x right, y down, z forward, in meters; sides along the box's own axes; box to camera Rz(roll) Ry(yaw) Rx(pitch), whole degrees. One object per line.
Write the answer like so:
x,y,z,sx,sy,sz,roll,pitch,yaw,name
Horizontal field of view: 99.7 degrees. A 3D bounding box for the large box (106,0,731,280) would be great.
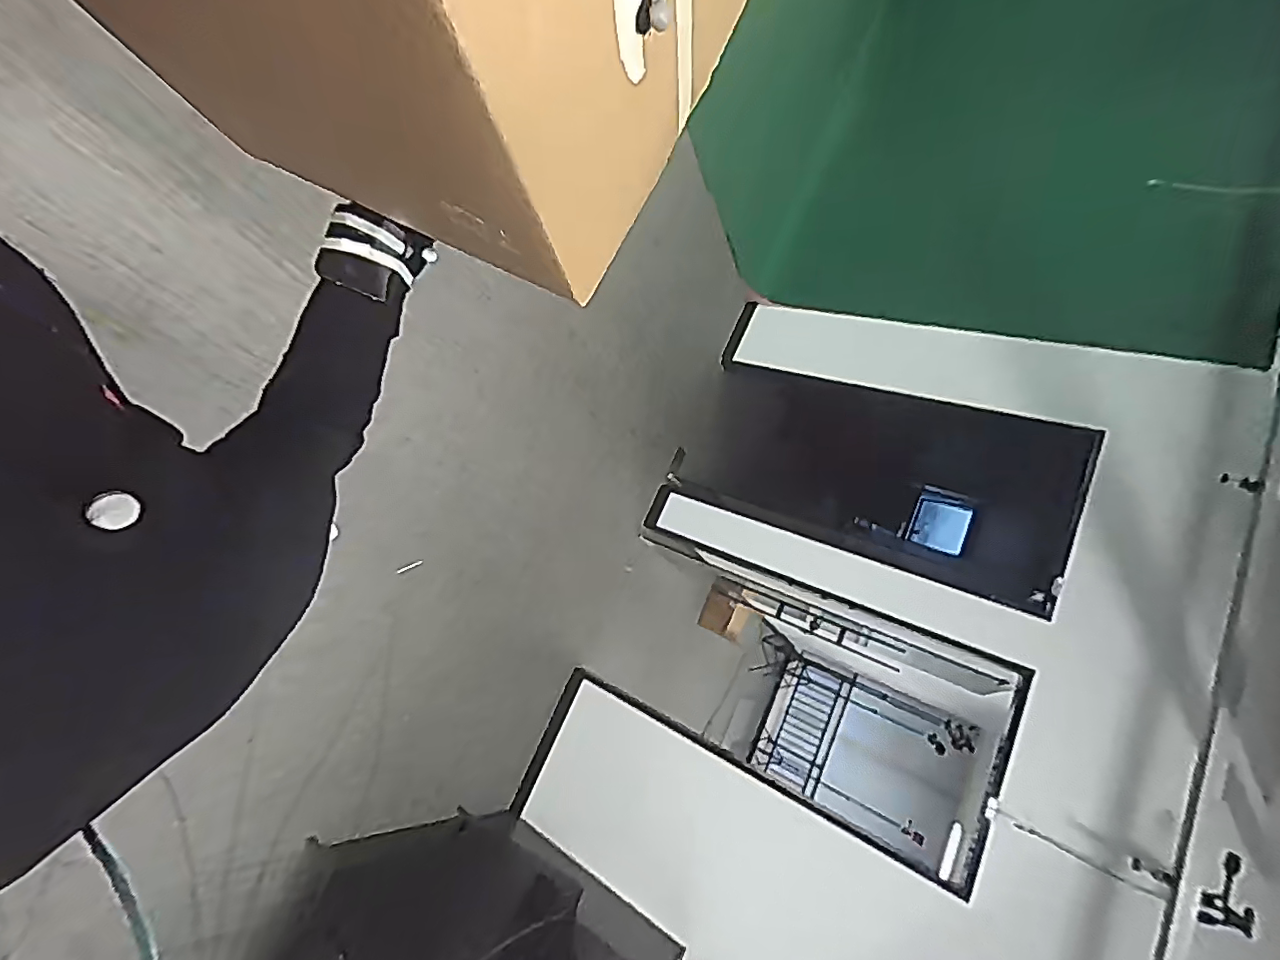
-0.129,-0.366,0.232,0.320,0.320,0.408,-62,173,-3,large box
